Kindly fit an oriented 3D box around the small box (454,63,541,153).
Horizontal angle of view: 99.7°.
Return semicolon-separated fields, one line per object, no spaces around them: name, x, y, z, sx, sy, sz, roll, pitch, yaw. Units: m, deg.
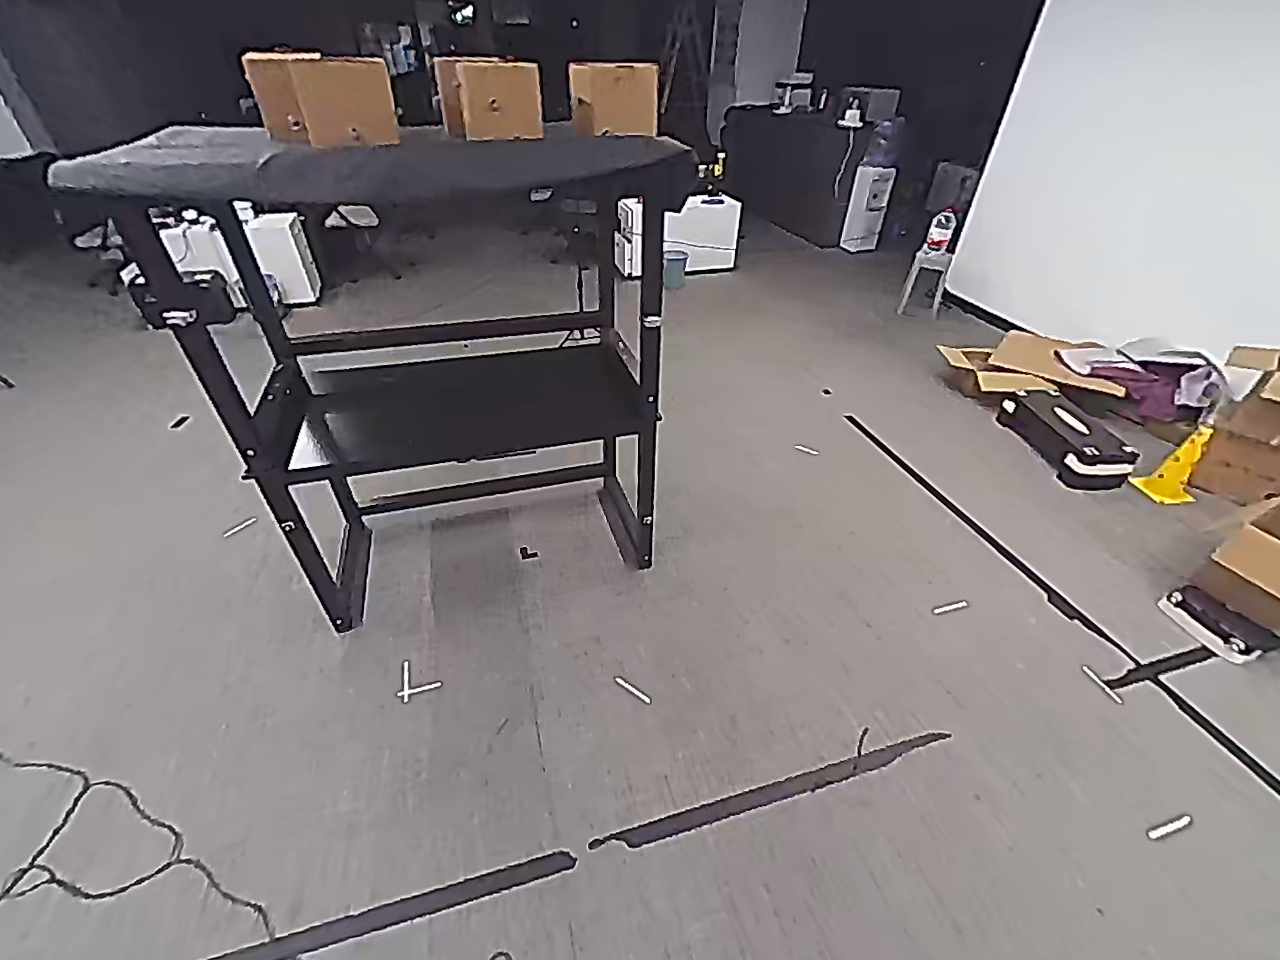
small box;-0.337;-0.884;1.286;0.168;0.176;0.179;-12;39;-16

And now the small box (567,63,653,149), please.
small box;-0.073;-0.931;1.346;0.168;0.176;0.179;-14;39;-18

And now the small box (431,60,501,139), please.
small box;-0.465;-1.047;1.488;0.179;0.176;0.168;-10;40;-14

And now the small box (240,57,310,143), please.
small box;-0.871;-0.958;1.365;0.168;0.176;0.179;-16;41;-18

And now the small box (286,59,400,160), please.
small box;-0.636;-0.810;1.183;0.179;0.176;0.168;-10;38;-15
